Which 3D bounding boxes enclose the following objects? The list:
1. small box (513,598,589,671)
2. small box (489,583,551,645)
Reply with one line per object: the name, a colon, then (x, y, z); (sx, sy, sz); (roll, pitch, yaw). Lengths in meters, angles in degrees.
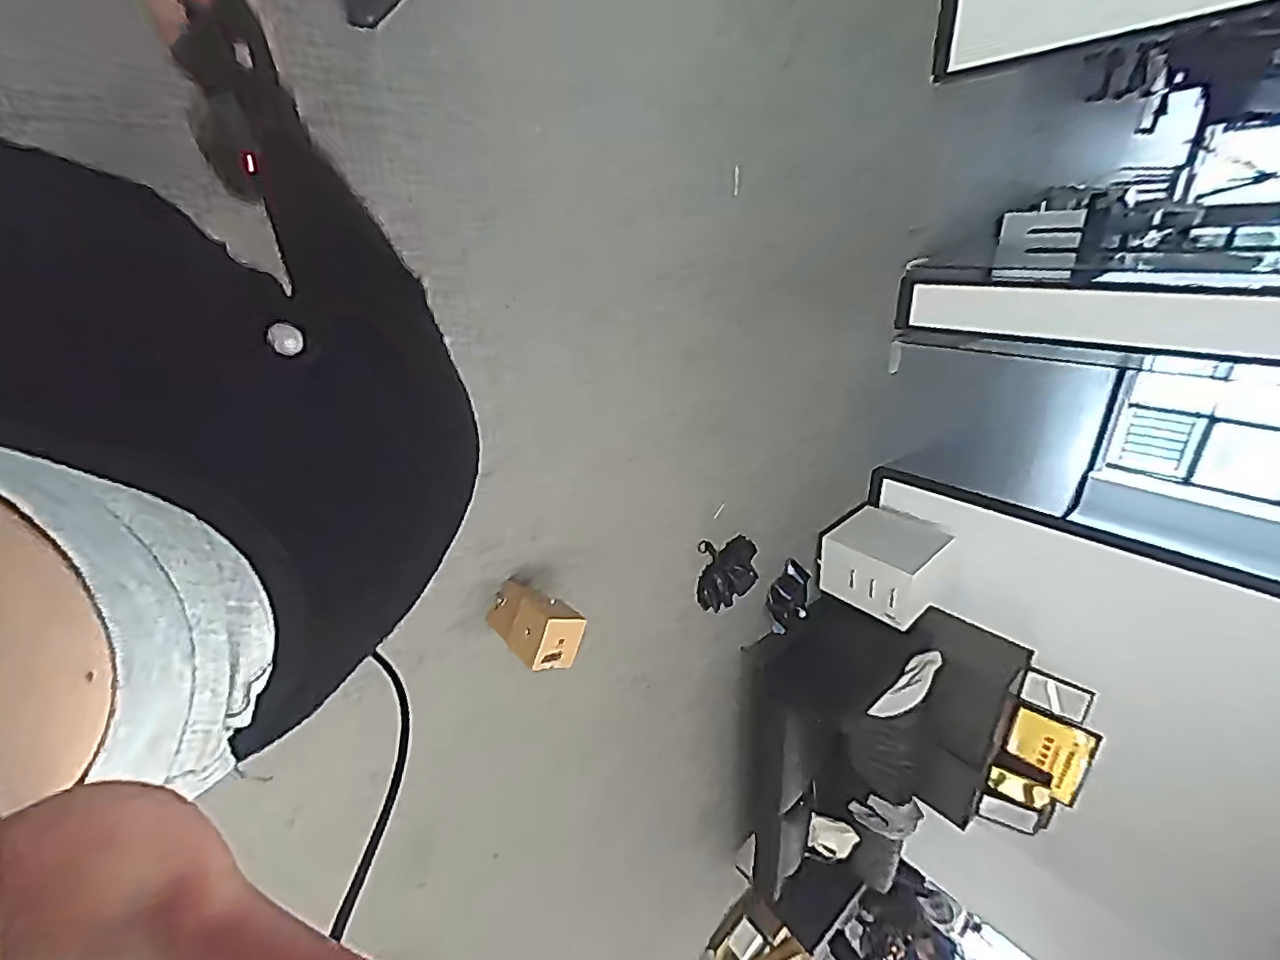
small box: (-0.302, 0.512, 1.802); (0.168, 0.176, 0.179); (15, 94, -45)
small box: (-0.403, 0.489, 1.933); (0.179, 0.176, 0.168); (33, 83, -43)
